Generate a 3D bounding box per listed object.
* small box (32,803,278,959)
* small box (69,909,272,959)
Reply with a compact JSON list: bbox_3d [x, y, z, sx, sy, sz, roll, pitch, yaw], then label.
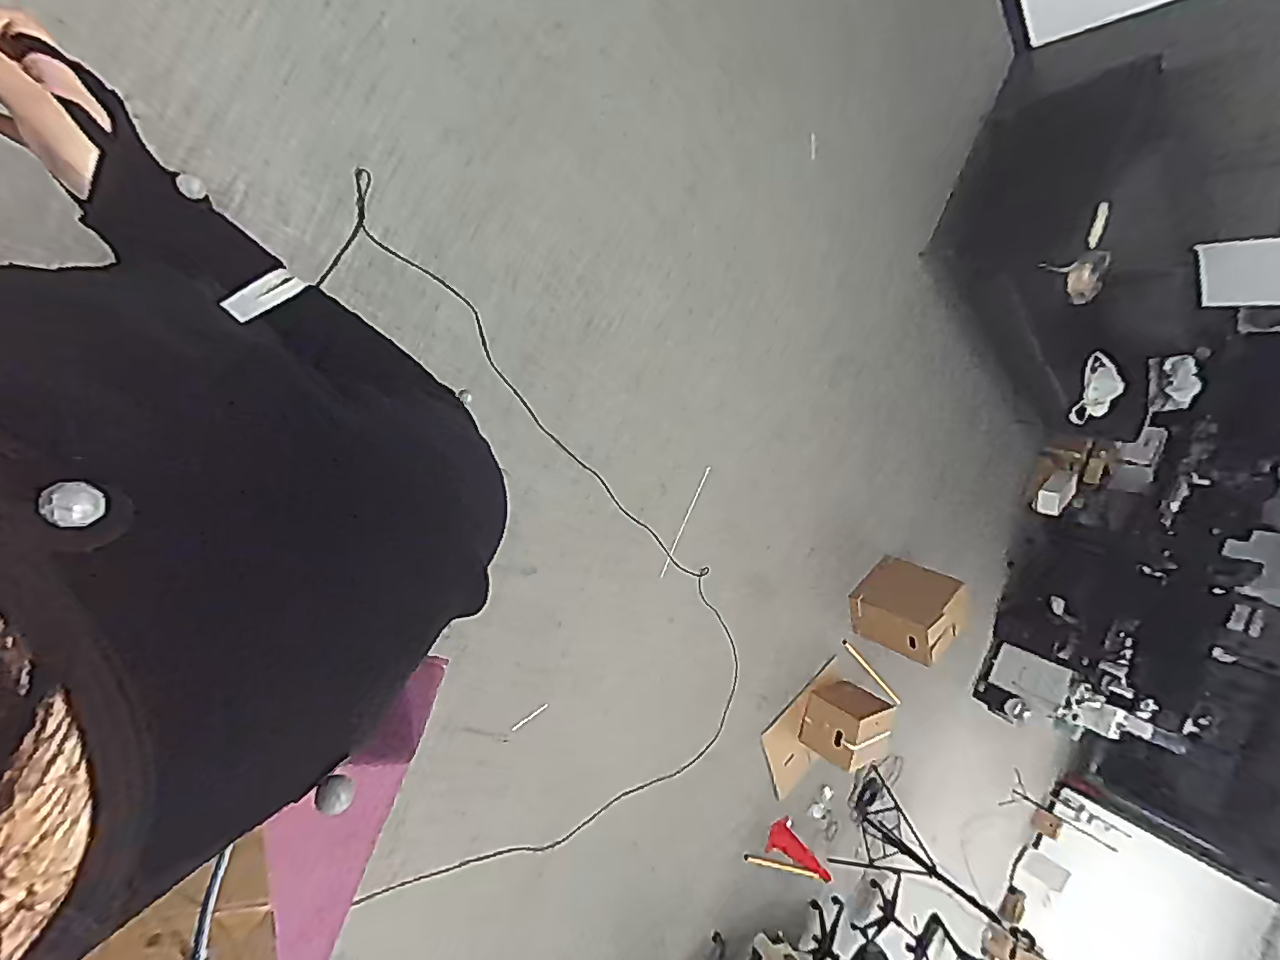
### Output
[{"bbox_3d":[-0.548,0.498,0.612,0.179,0.176,0.168,26,87,-40],"label":"small box"},{"bbox_3d":[-0.453,0.545,0.488,0.168,0.176,0.179,27,85,-39],"label":"small box"}]
